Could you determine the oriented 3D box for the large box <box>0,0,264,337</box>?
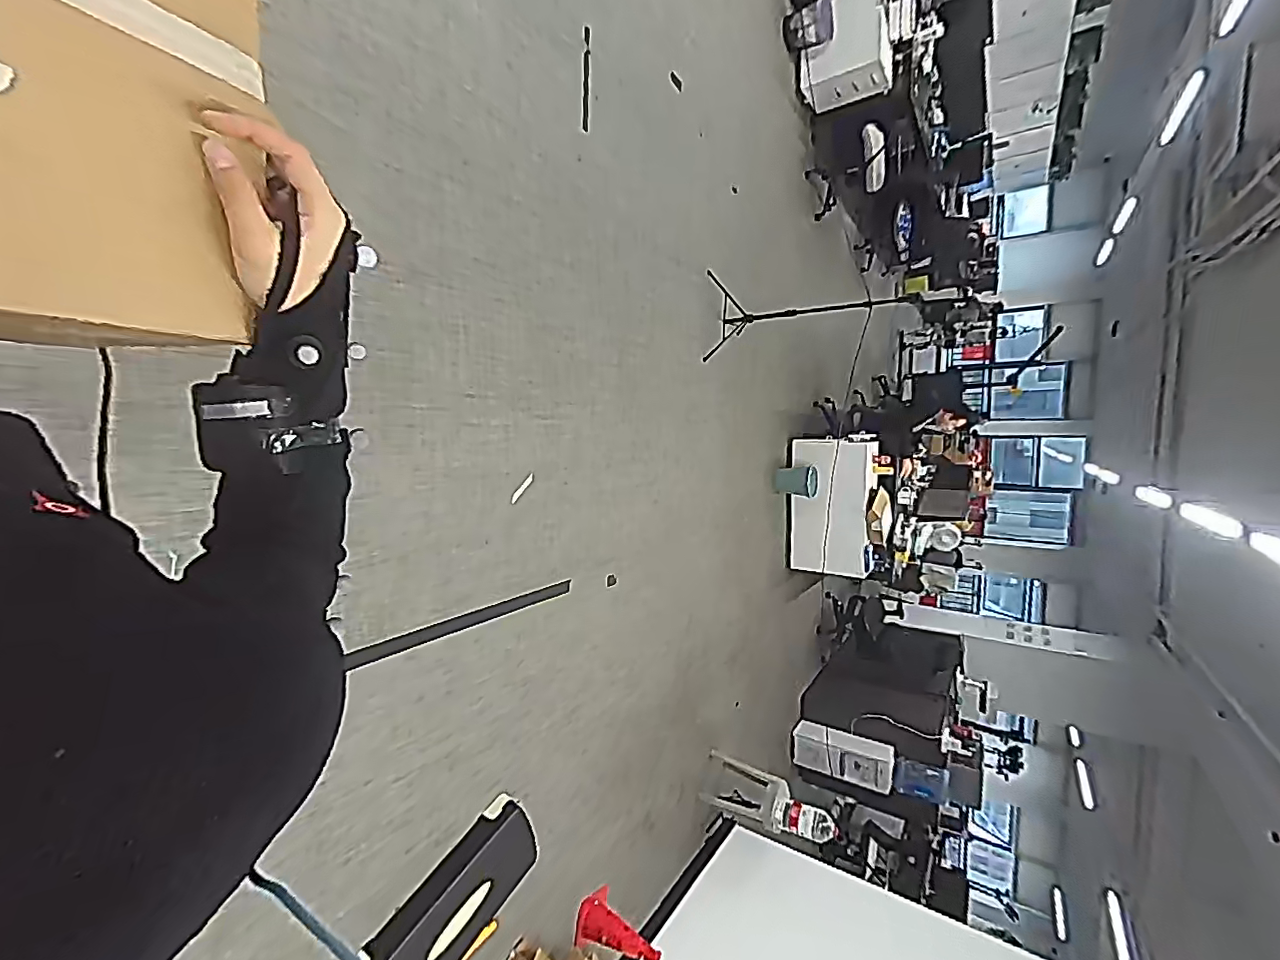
[{"bbox_3d":[-0.467,-0.248,0.236,0.408,0.320,0.320,-9,105,-61],"label":"large box"}]
